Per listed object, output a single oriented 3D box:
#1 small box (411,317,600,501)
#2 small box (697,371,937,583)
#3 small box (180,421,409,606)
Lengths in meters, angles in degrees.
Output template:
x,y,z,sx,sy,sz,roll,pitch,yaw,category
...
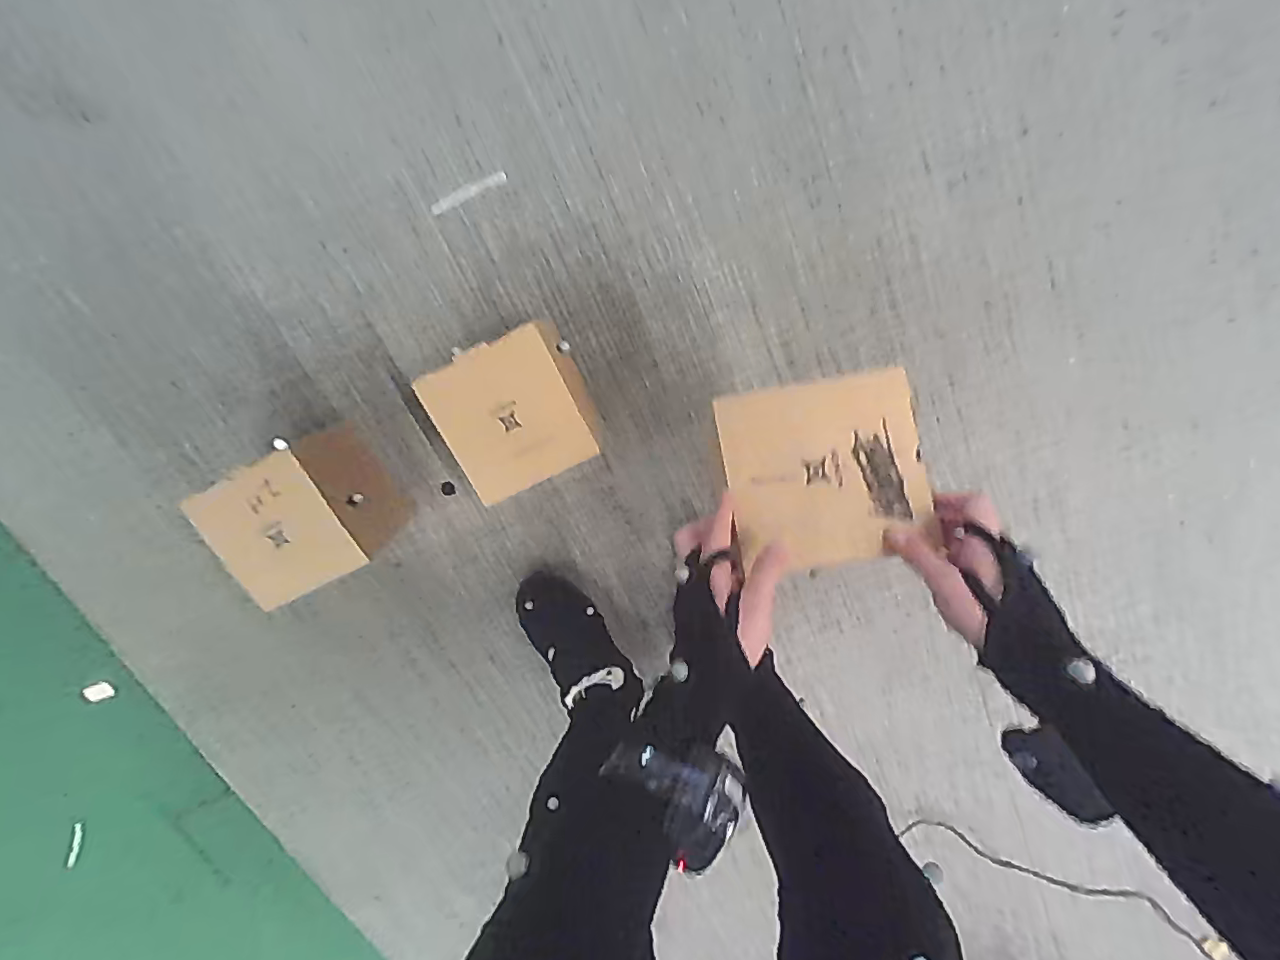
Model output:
x,y,z,sx,sy,sz,roll,pitch,yaw,category
-0.164,-0.102,0.722,0.168,0.176,0.179,-25,107,7,small box
0.157,0.006,0.542,0.179,0.176,0.168,-9,82,4,small box
-0.460,0.038,0.756,0.168,0.176,0.179,-25,107,5,small box
